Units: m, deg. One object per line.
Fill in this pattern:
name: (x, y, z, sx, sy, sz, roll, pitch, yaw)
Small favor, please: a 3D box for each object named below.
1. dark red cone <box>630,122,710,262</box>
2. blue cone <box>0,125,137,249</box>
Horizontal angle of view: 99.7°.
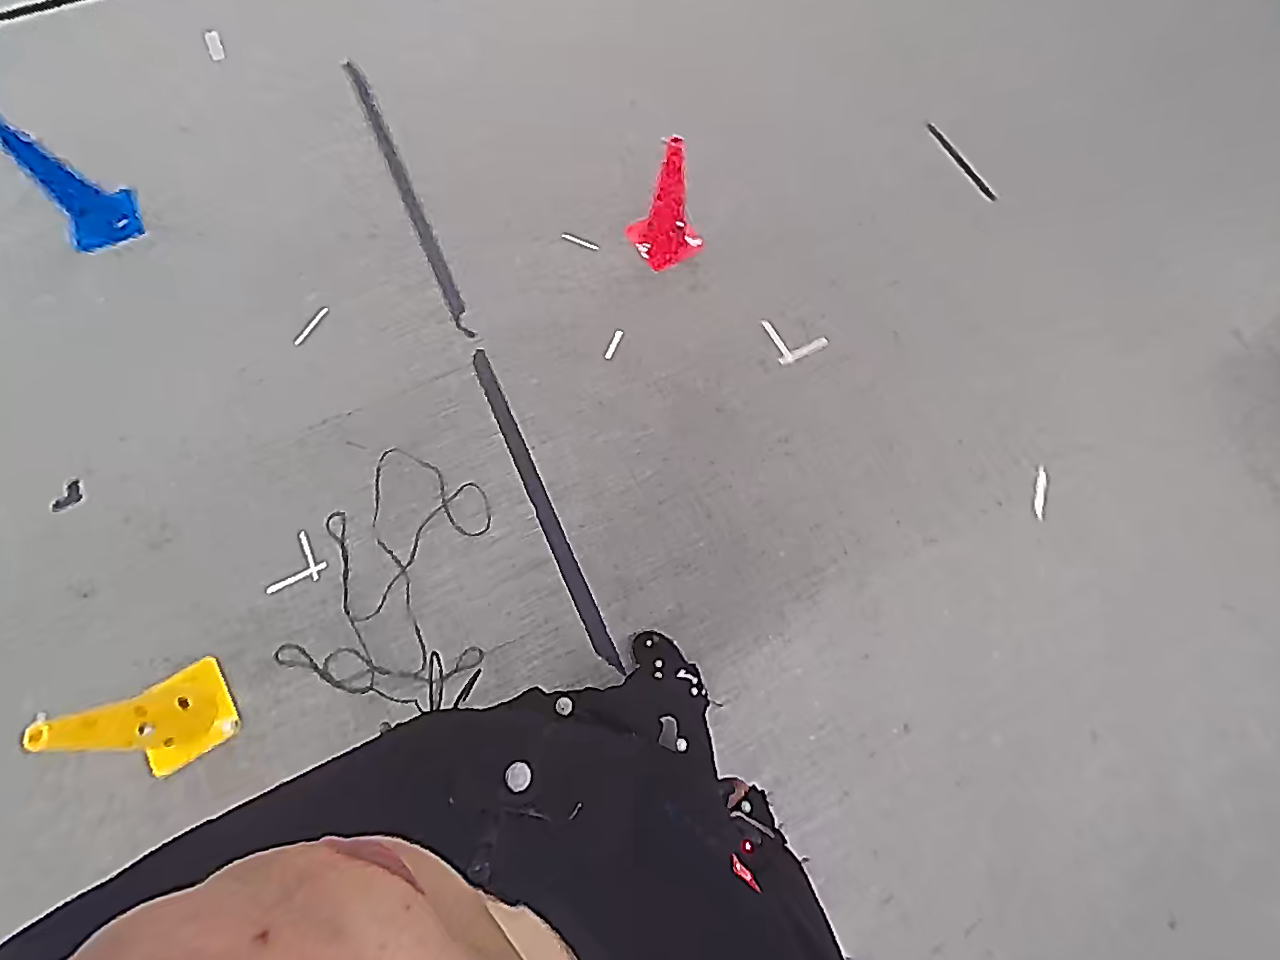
dark red cone: (0.099, -0.845, 1.560, 0.201, 0.394, 0.202, -31, 76, -11)
blue cone: (-1.660, -0.859, 1.517, 0.192, 0.380, 0.193, -23, 75, -8)
